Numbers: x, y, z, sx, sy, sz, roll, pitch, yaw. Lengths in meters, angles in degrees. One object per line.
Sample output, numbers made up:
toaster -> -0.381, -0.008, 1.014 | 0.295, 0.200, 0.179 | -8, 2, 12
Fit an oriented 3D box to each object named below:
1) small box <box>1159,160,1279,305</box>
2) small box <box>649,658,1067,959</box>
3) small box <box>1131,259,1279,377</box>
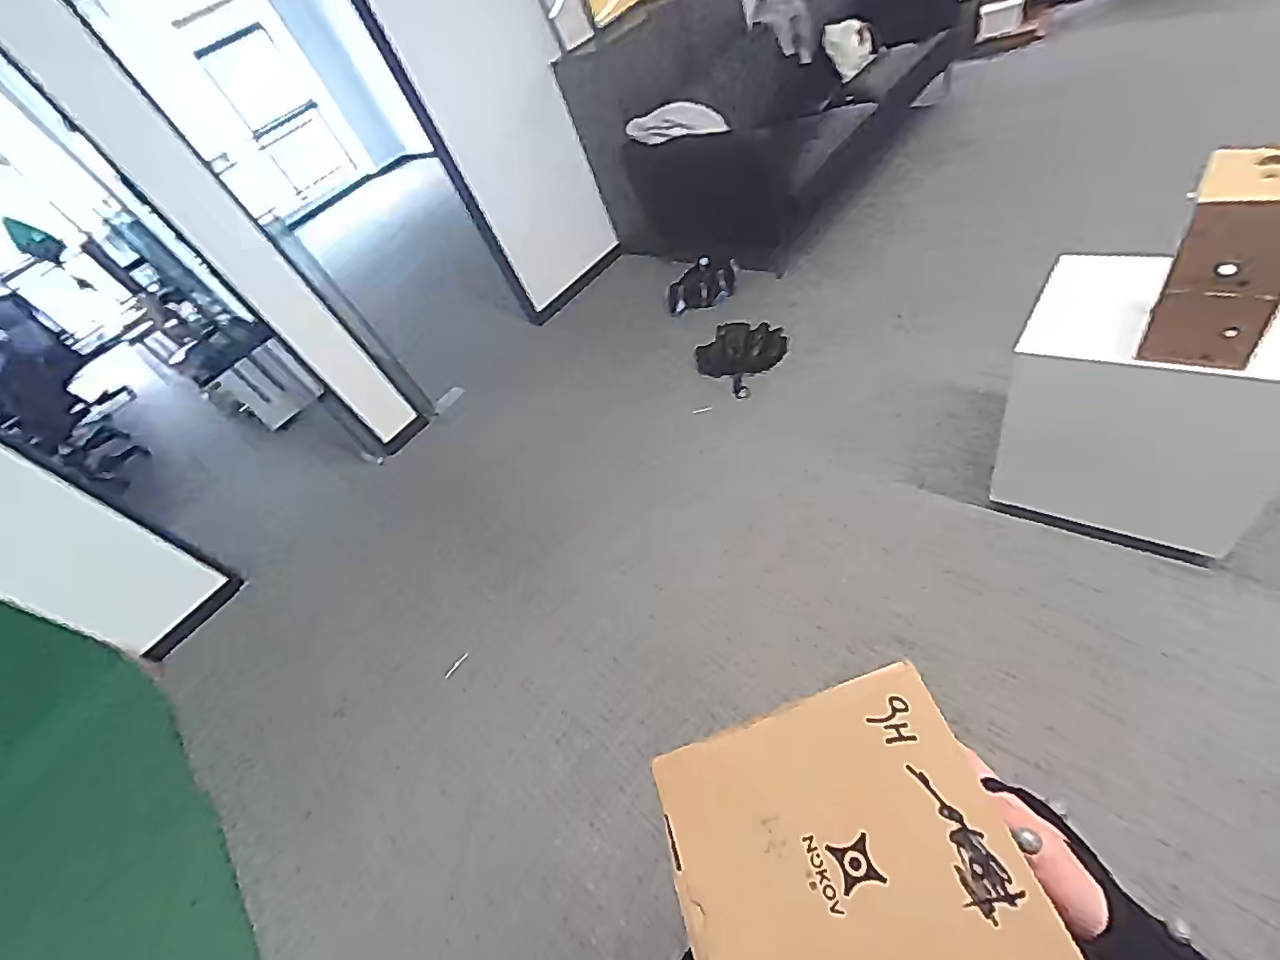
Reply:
small box -> 1.056, -0.434, 0.946 | 0.168, 0.176, 0.179 | 21, 61, 37
small box -> 0.130, 0.242, 0.361 | 0.179, 0.176, 0.168 | -24, 57, 8
small box -> 1.106, -0.326, 1.060 | 0.168, 0.176, 0.179 | 20, 59, 36
